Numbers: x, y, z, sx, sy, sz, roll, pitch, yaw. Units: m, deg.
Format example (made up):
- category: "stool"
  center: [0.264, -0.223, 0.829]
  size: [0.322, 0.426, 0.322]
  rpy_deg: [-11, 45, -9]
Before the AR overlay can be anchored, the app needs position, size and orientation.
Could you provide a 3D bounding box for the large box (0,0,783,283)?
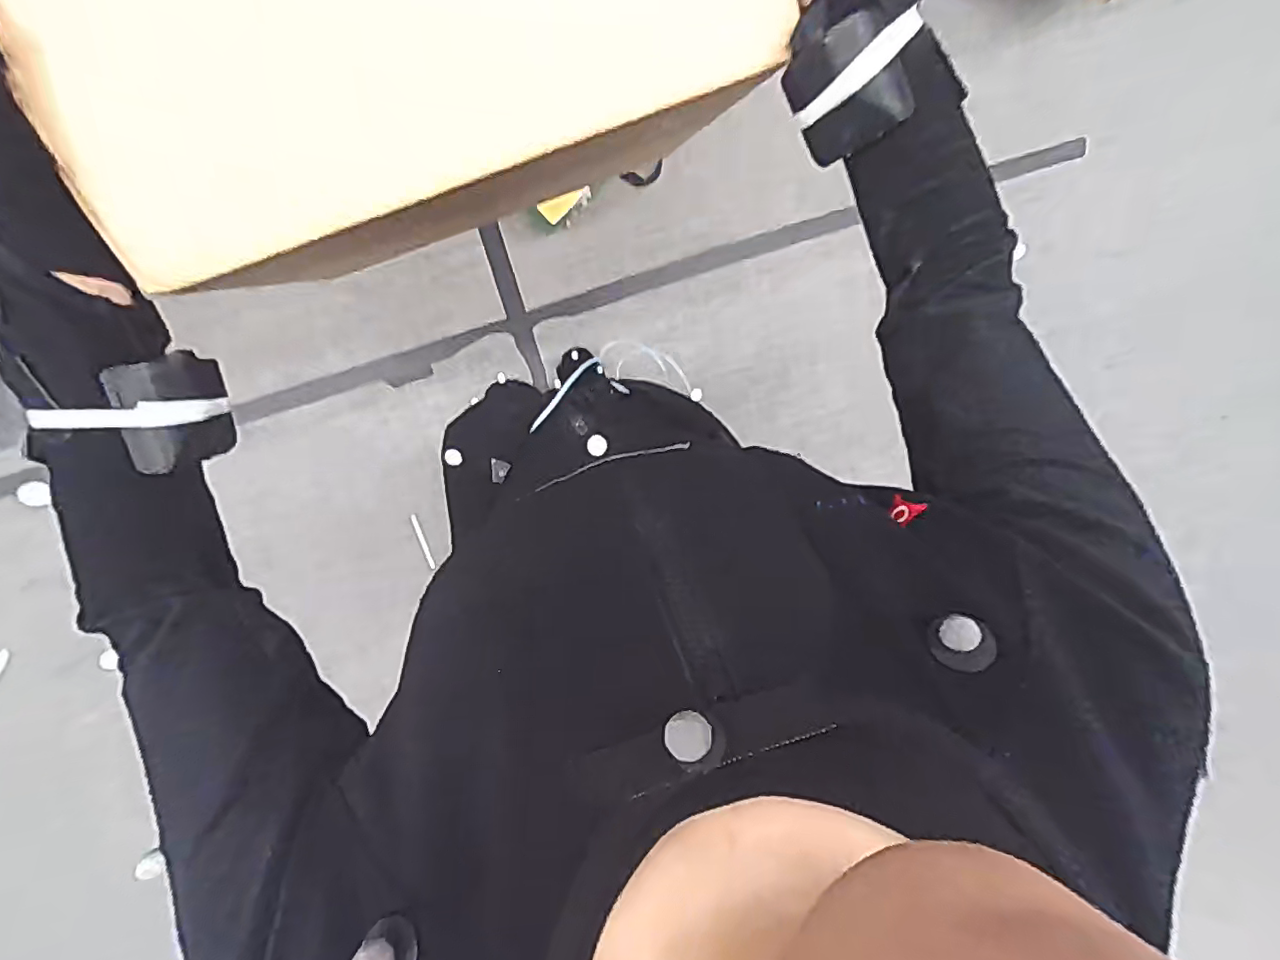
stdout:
- category: "large box"
  center: [-0.171, -0.372, 0.404]
  size: [0.408, 0.320, 0.320]
  rpy_deg: [-22, 115, -3]
